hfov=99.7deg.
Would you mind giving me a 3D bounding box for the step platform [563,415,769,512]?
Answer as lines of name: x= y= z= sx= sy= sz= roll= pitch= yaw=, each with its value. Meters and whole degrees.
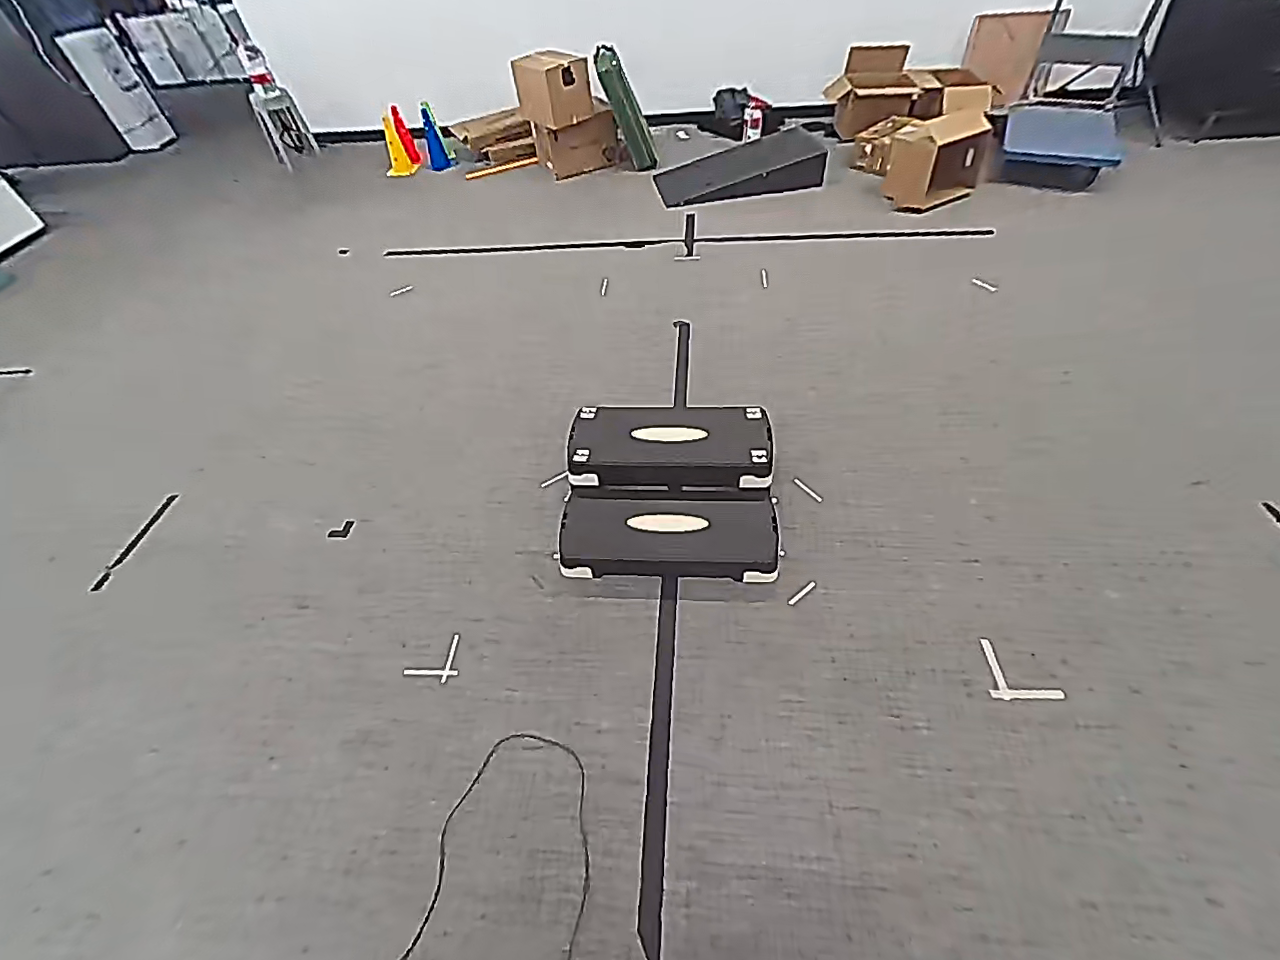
step platform: x=0.085 y=-0.061 z=1.823 sx=0.684 sy=0.204 sz=0.286 roll=0 pitch=50 yaw=4
